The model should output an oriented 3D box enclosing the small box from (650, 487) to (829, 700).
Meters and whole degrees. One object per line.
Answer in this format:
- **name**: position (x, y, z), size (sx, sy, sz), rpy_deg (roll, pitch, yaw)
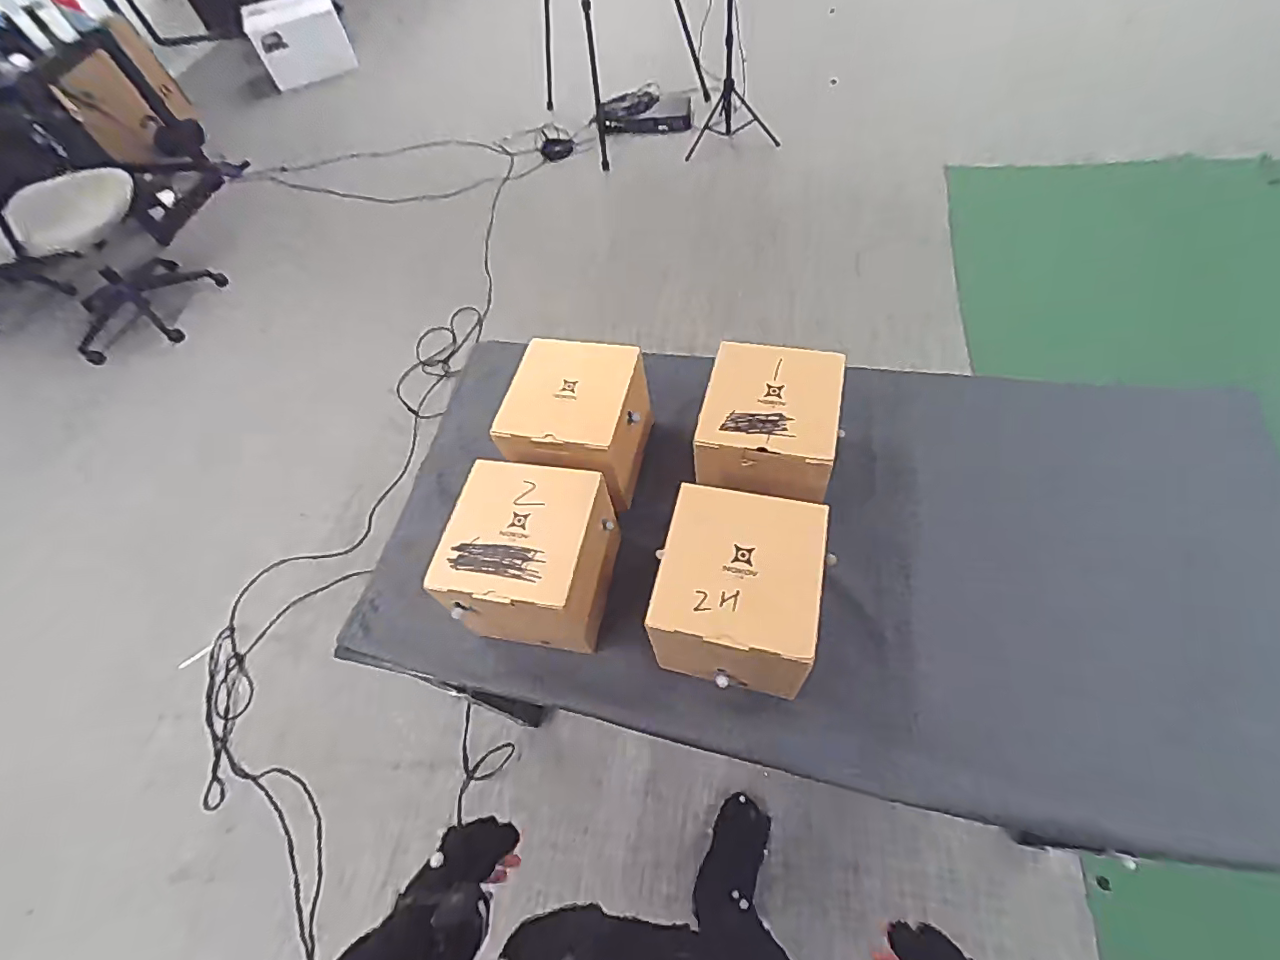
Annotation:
- **small box**: position (0.116, 0.135, 0.633), size (0.168, 0.176, 0.179), rpy_deg (9, 59, 13)
